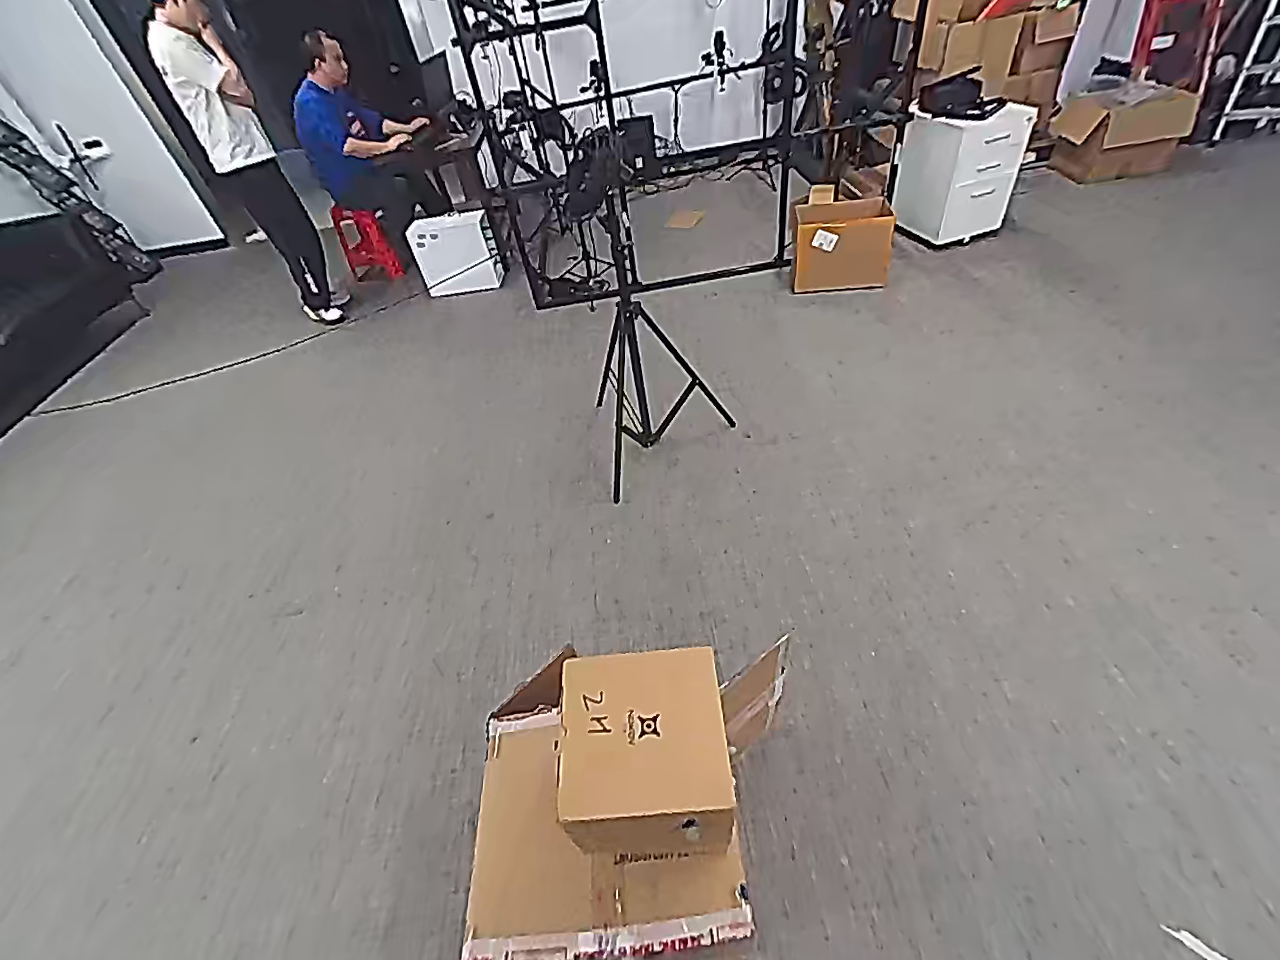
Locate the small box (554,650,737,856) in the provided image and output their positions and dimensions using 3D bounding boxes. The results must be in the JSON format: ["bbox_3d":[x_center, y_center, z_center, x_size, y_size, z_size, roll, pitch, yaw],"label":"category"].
[{"bbox_3d":[0.008,0.314,0.619,0.179,0.176,0.168,-6,45,2],"label":"small box"}]
